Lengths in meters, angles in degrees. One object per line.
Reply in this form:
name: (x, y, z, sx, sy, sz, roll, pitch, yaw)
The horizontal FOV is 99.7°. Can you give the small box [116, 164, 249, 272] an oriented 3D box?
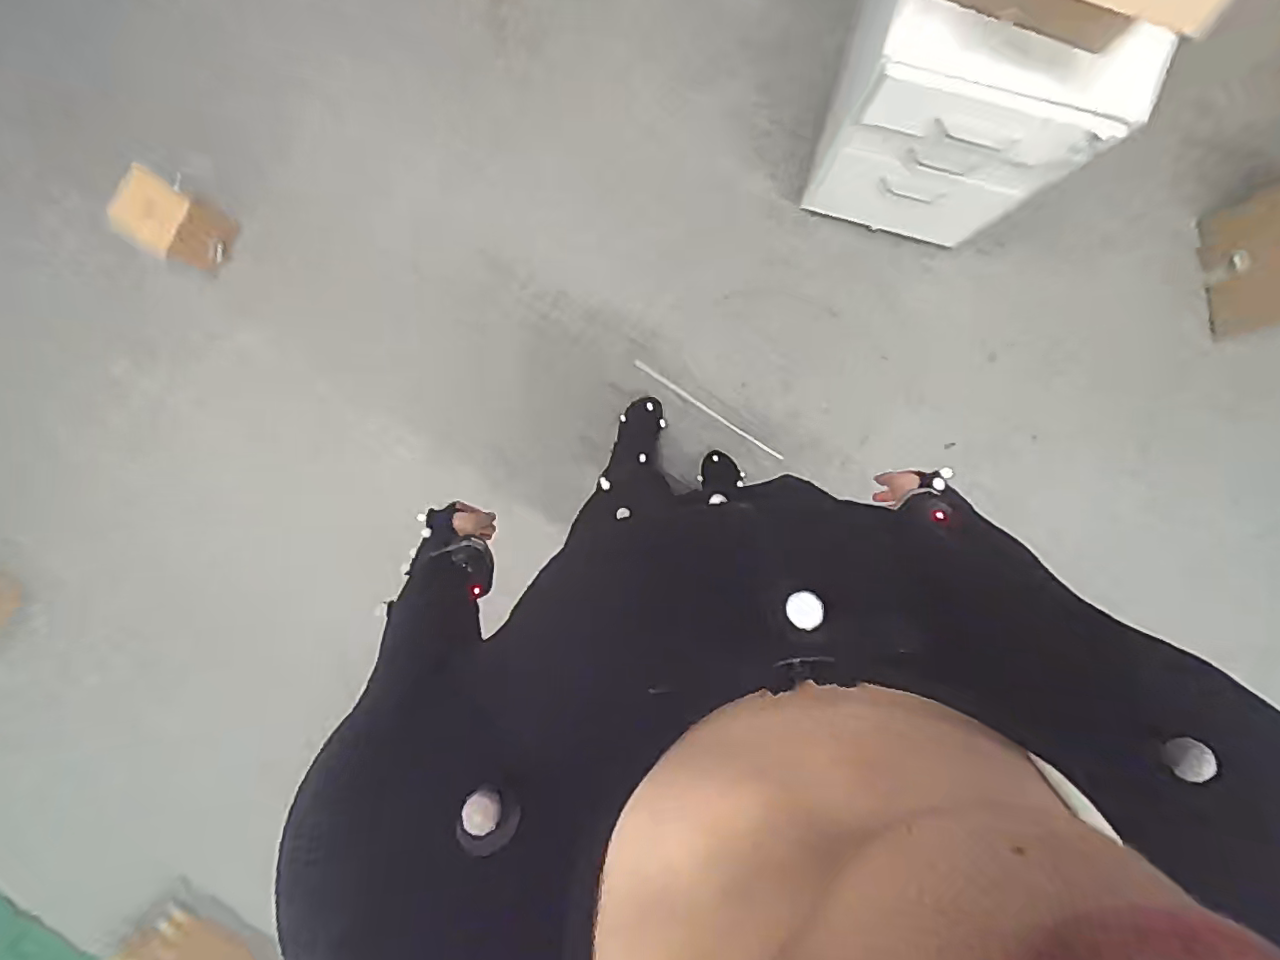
small box: (-1.205, -0.684, 1.437, 0.179, 0.176, 0.168, 35, 97, -1)
